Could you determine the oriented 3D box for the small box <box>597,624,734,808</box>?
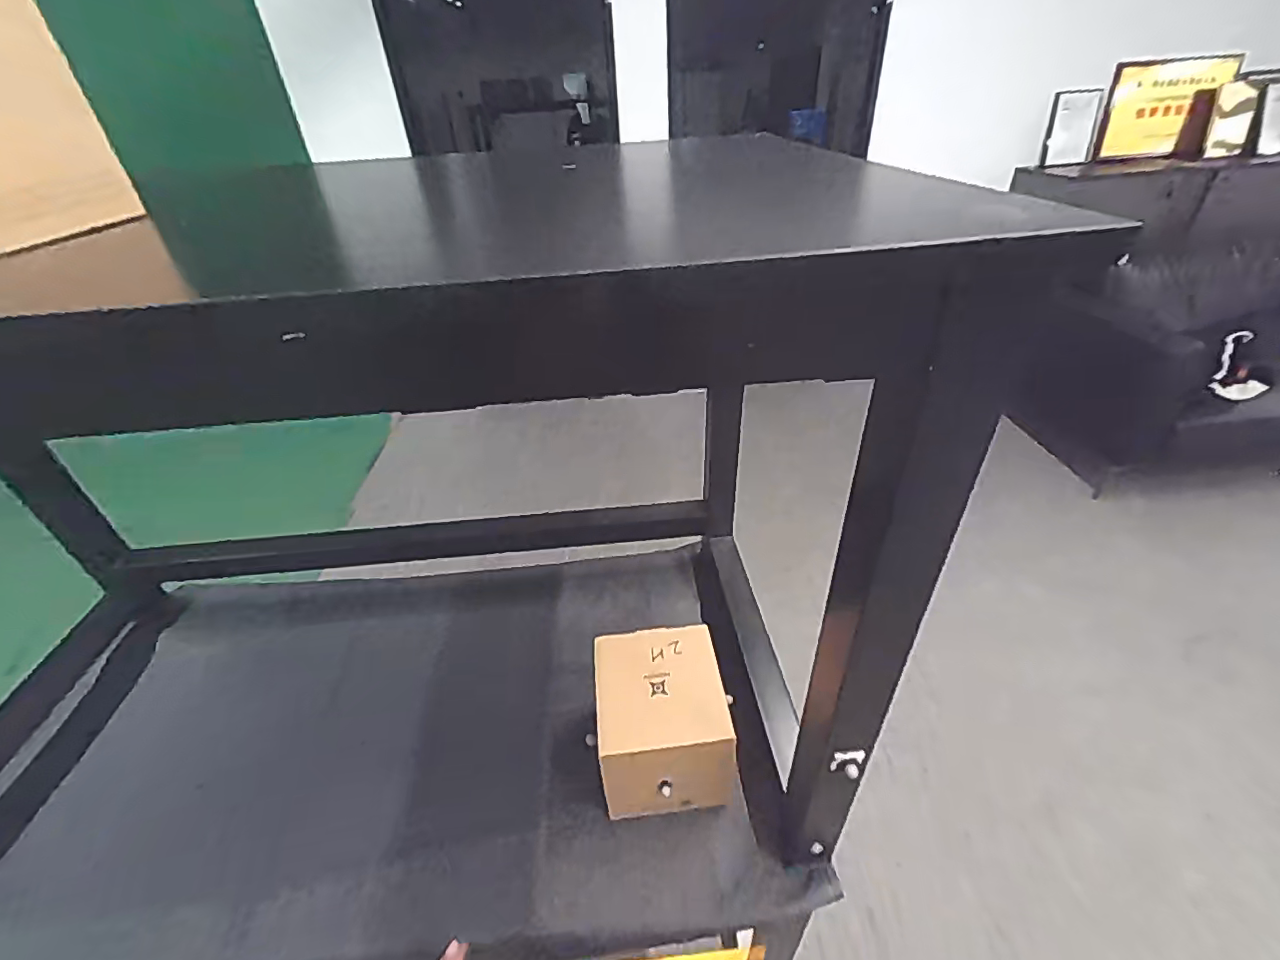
[{"bbox_3d":[0.032,0.332,0.755,0.168,0.176,0.179,-6,35,-3],"label":"small box"}]
